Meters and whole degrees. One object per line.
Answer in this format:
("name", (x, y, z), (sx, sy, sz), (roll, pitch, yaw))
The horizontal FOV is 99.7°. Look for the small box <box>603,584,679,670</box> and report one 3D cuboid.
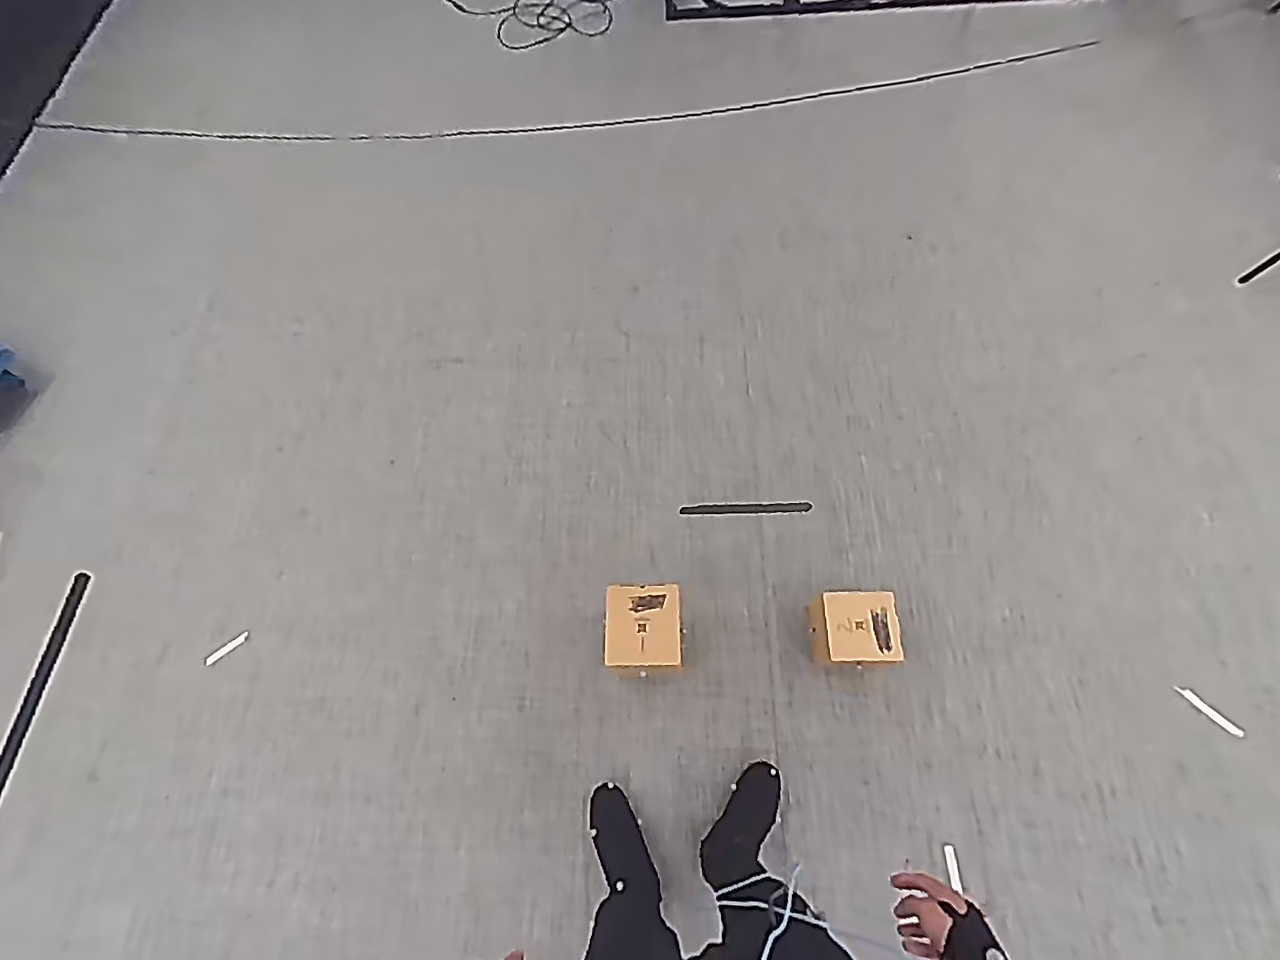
("small box", (0.006, 0.347, 1.262), (0.168, 0.176, 0.179), (-1, 69, 4))
